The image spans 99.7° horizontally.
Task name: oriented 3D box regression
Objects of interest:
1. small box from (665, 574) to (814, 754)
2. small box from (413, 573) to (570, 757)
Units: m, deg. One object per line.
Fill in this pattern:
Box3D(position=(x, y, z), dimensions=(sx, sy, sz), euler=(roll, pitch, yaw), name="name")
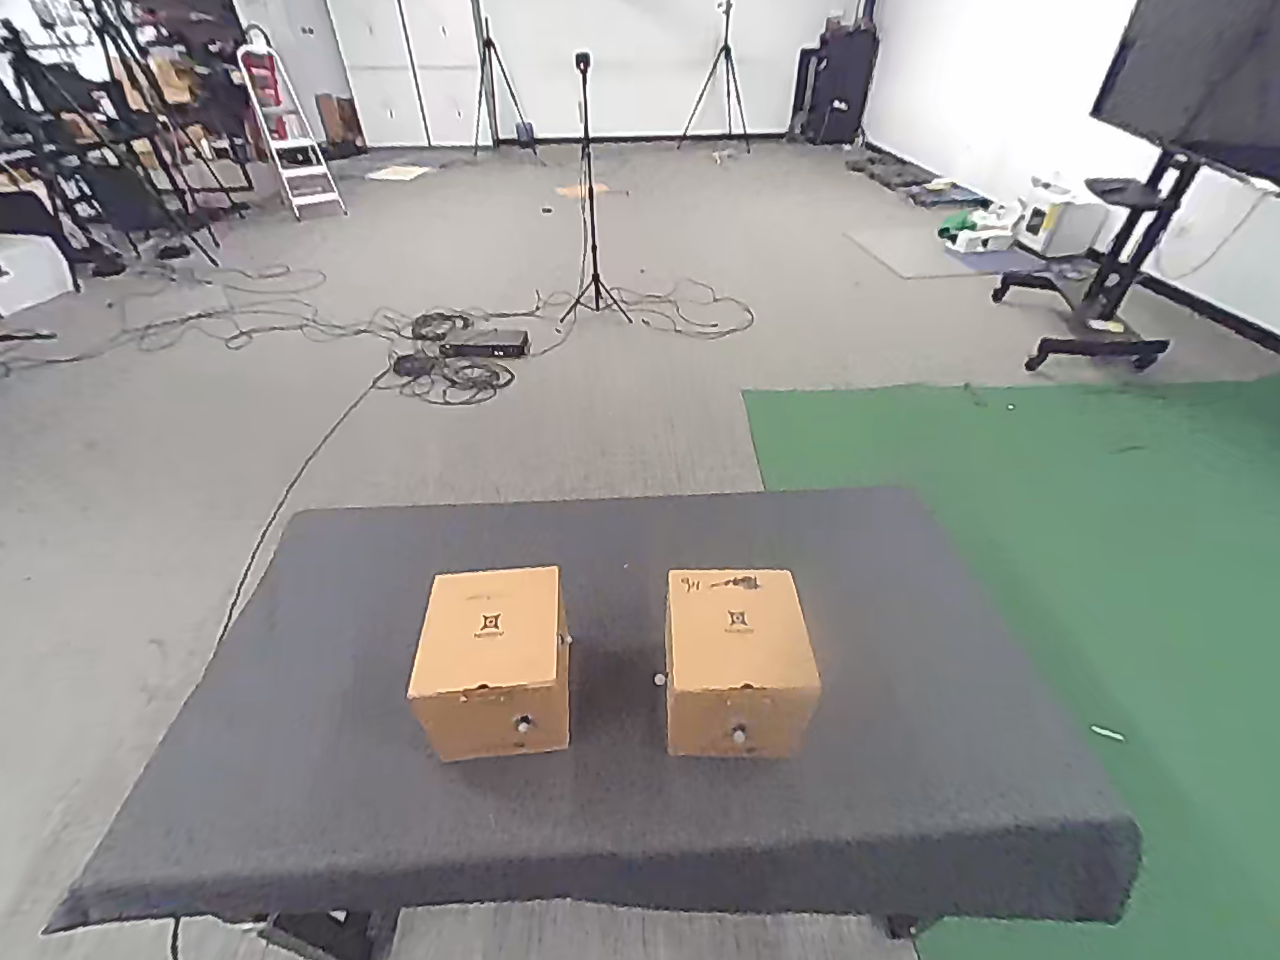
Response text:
Box3D(position=(0.119, 0.246, 0.720), dimensions=(0.168, 0.176, 0.179), euler=(0, 41, 1), name="small box")
Box3D(position=(-0.184, 0.251, 0.727), dimensions=(0.168, 0.176, 0.179), euler=(-4, 39, -5), name="small box")
